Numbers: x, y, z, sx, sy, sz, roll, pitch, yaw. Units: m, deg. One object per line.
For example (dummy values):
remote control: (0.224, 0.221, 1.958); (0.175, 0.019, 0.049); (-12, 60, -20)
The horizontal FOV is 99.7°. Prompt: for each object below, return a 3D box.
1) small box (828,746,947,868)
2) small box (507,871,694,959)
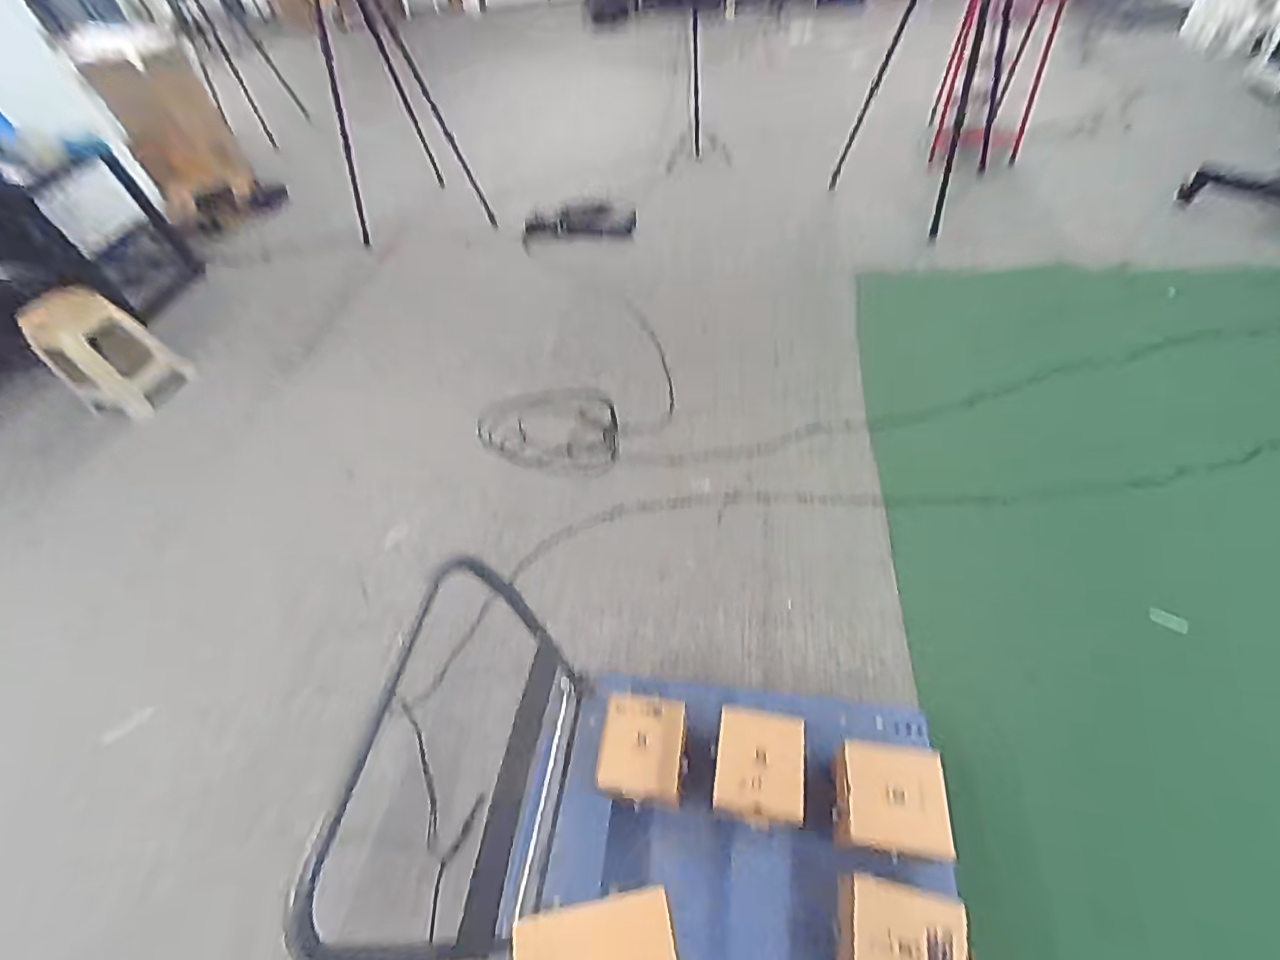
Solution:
small box: (0.467, 0.639, 1.052); (0.179, 0.176, 0.168); (4, 52, 11)
small box: (-0.049, 0.558, 0.583); (0.179, 0.176, 0.168); (15, 54, 16)
